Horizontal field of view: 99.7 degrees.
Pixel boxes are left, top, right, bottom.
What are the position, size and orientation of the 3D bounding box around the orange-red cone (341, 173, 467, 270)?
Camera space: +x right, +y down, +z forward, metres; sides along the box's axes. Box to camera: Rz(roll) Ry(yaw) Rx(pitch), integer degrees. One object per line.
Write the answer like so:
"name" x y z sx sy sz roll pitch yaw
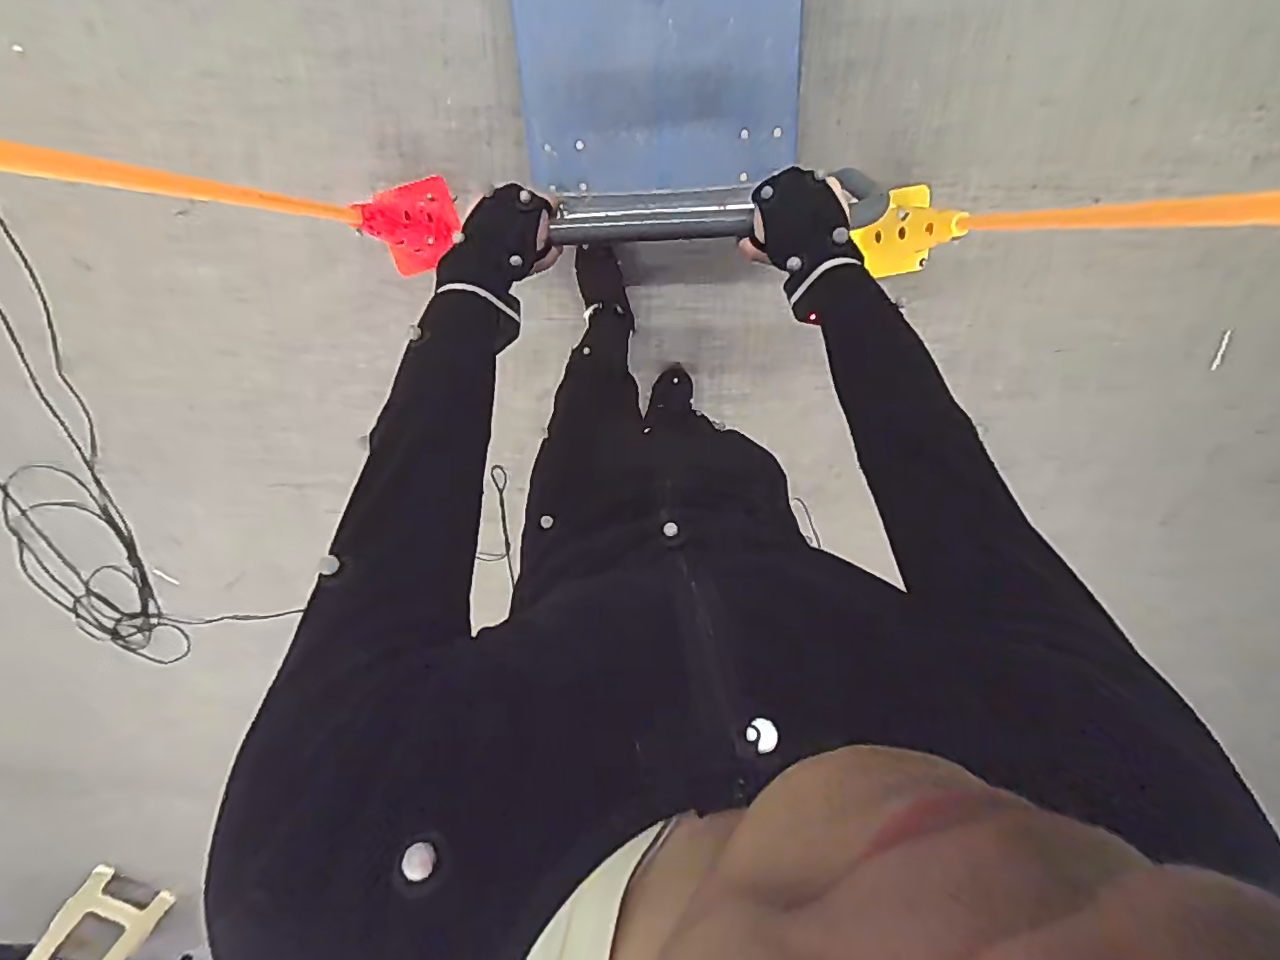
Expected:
"orange-red cone" -0.558 -0.585 1.208 0.199 0.360 0.198 -12 111 7
